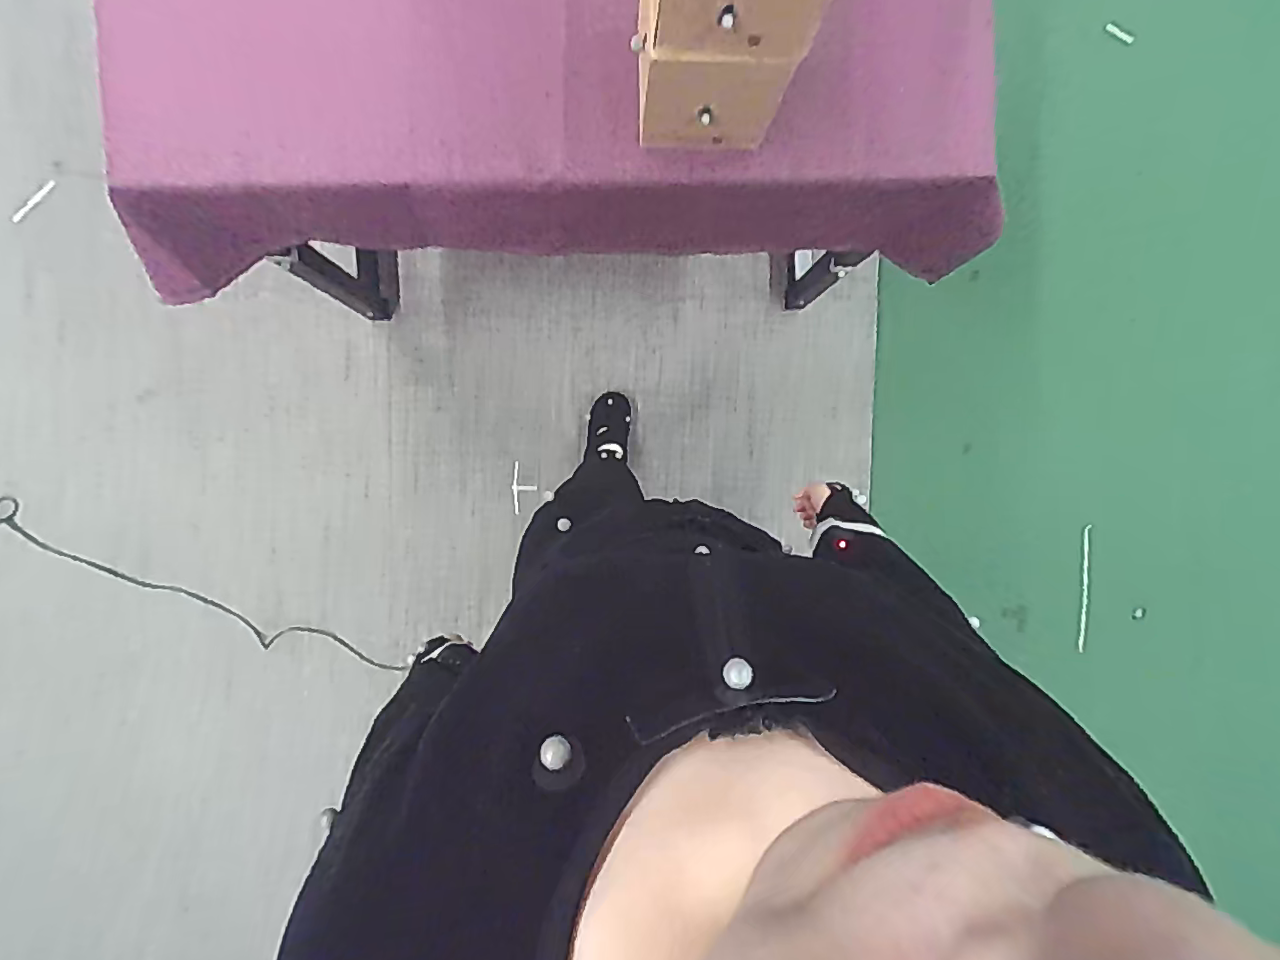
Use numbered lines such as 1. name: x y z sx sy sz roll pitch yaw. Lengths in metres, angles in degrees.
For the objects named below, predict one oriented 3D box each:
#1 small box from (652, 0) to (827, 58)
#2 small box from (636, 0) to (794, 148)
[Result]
1. small box: 0.098 -0.541 0.500 0.168 0.176 0.179 -1 93 -4
2. small box: 0.083 -0.539 0.663 0.168 0.176 0.179 -1 92 -4
